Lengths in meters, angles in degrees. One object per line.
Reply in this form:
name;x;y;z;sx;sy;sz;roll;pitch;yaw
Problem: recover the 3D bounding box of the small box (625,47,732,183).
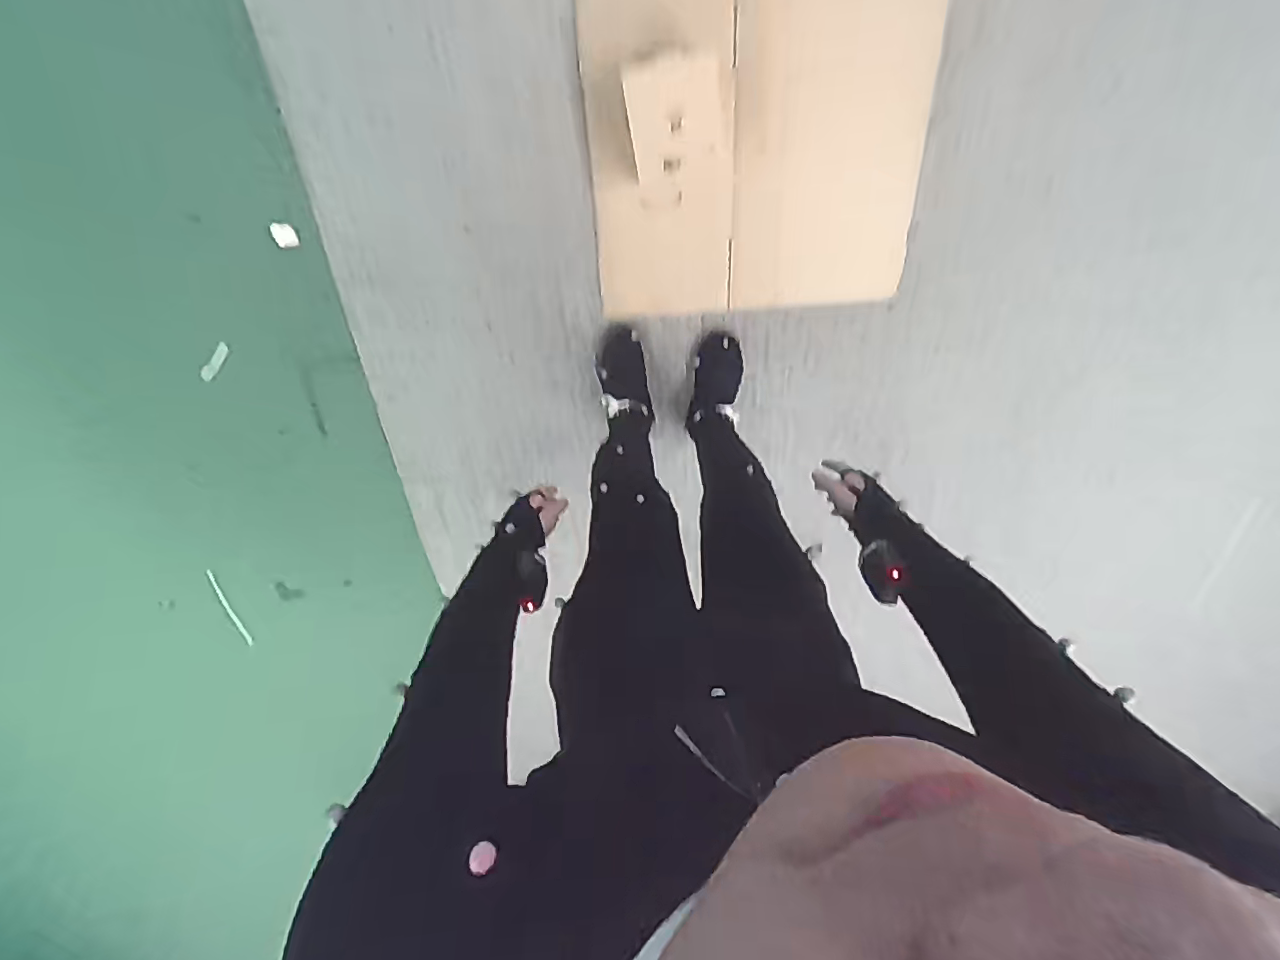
small box;0.067;-0.666;1.008;0.168;0.176;0.179;-11;119;3
